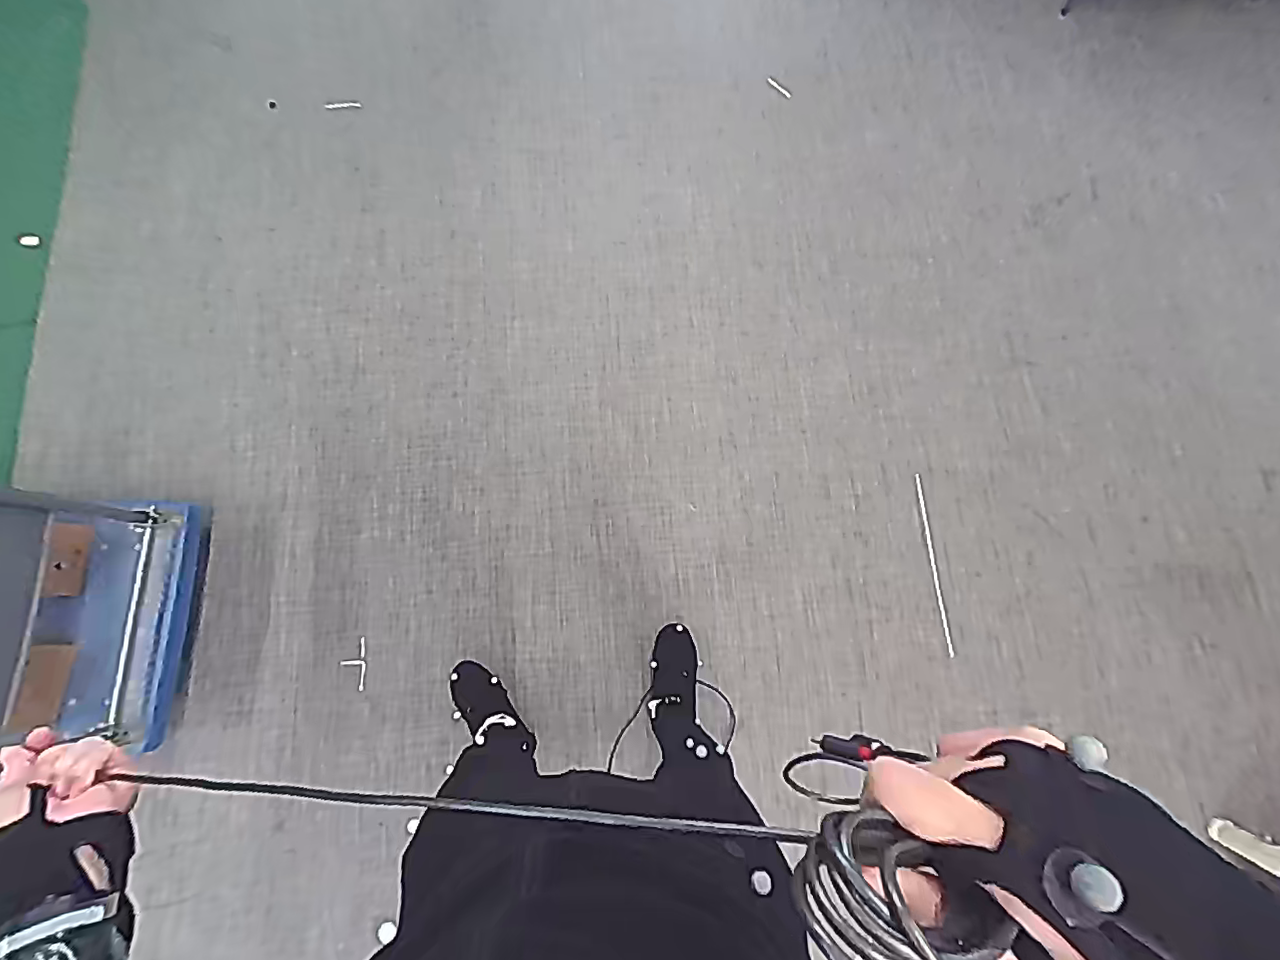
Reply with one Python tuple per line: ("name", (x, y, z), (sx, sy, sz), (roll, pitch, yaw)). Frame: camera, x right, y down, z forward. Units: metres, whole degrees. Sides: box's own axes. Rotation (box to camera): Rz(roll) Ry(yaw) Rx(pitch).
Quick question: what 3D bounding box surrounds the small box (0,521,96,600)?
("small box", (-1.402, 0.182, 1.212), (0.179, 0.176, 0.168), (2, 78, 0))
